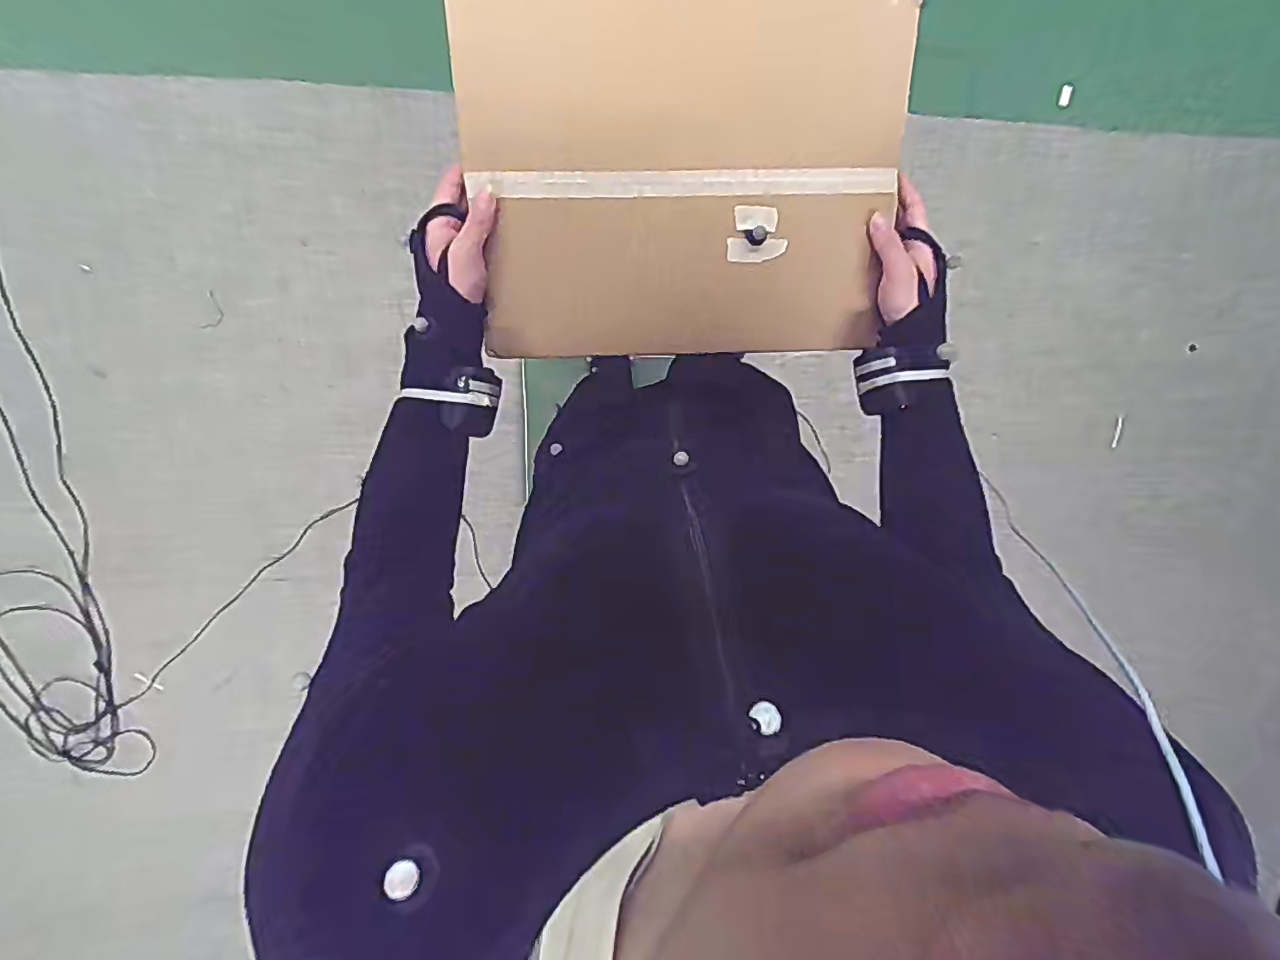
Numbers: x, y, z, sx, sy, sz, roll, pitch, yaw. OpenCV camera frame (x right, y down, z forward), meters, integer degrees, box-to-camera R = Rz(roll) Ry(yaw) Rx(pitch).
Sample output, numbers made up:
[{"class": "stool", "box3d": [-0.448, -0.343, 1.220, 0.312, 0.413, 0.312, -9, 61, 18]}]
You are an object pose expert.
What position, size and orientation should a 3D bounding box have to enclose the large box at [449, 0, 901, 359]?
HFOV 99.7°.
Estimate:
[{"class": "large box", "box3d": [0.027, -0.332, 0.655, 0.408, 0.320, 0.320, -3, 111, -4]}]
